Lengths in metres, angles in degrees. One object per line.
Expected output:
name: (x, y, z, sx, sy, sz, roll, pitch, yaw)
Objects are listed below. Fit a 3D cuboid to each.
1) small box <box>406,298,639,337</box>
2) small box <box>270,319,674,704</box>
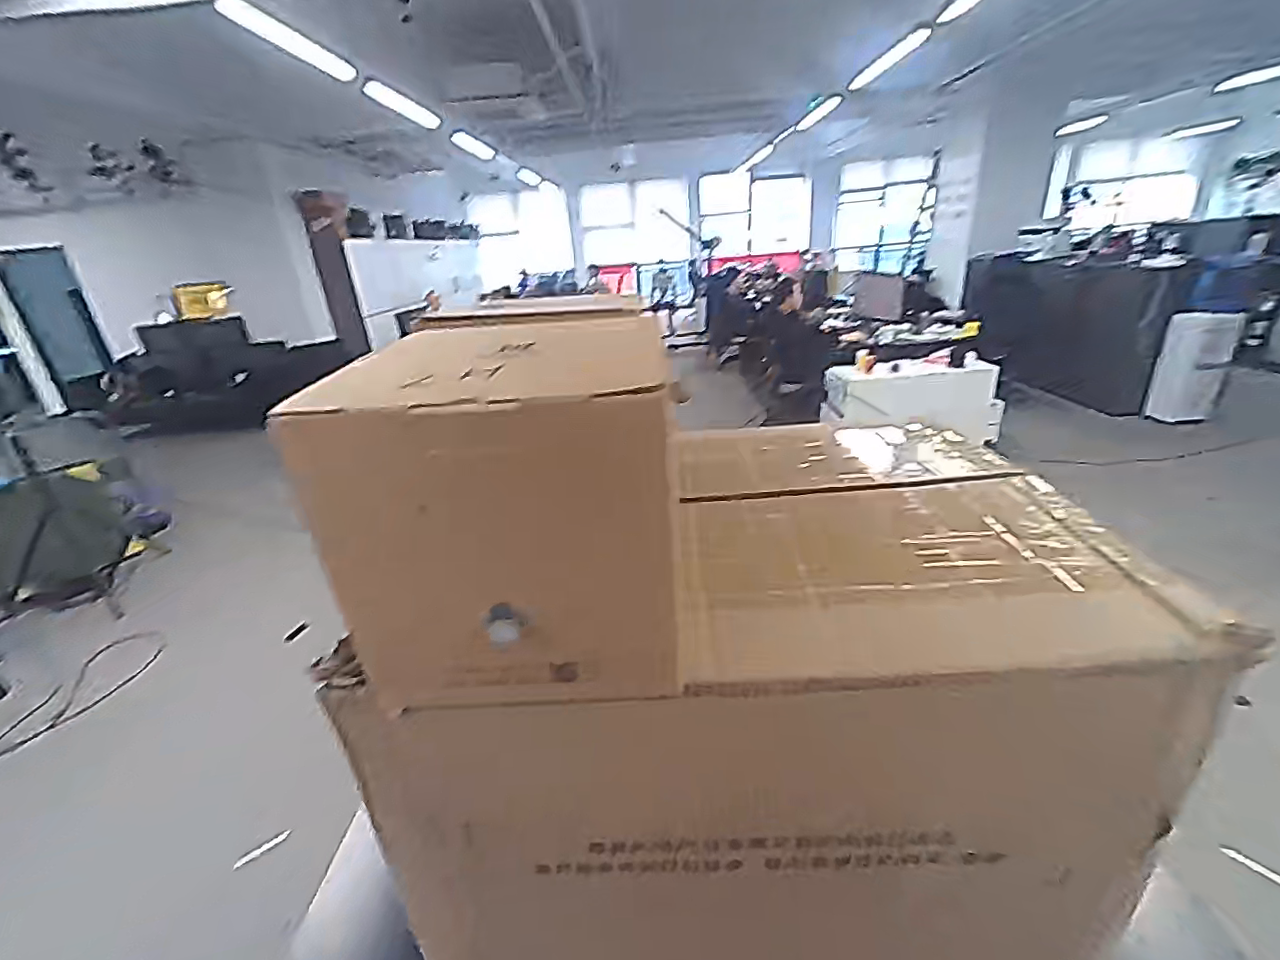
small box: (-0.086, -0.074, 0.509, 0.179, 0.176, 0.168, -3, 22, 2)
small box: (-0.067, 0.006, 0.328, 0.168, 0.176, 0.179, -4, 26, 2)
